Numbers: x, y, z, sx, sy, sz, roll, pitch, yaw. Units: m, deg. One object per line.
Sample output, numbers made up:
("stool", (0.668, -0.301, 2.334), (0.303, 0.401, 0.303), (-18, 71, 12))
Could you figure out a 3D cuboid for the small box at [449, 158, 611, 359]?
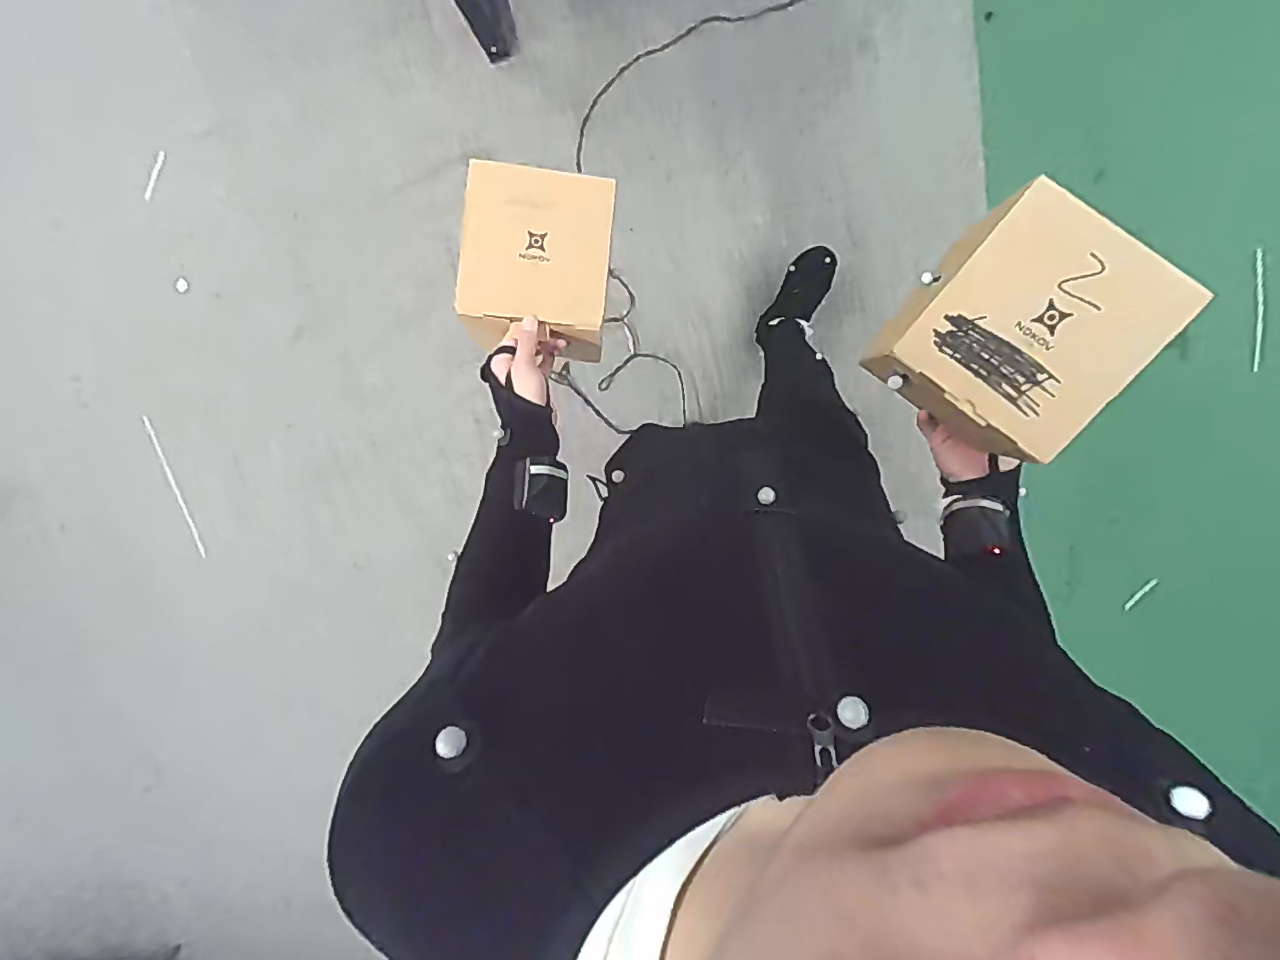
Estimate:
("small box", (-0.127, -0.261, 0.679), (0.168, 0.176, 0.179), (5, 88, -5))
